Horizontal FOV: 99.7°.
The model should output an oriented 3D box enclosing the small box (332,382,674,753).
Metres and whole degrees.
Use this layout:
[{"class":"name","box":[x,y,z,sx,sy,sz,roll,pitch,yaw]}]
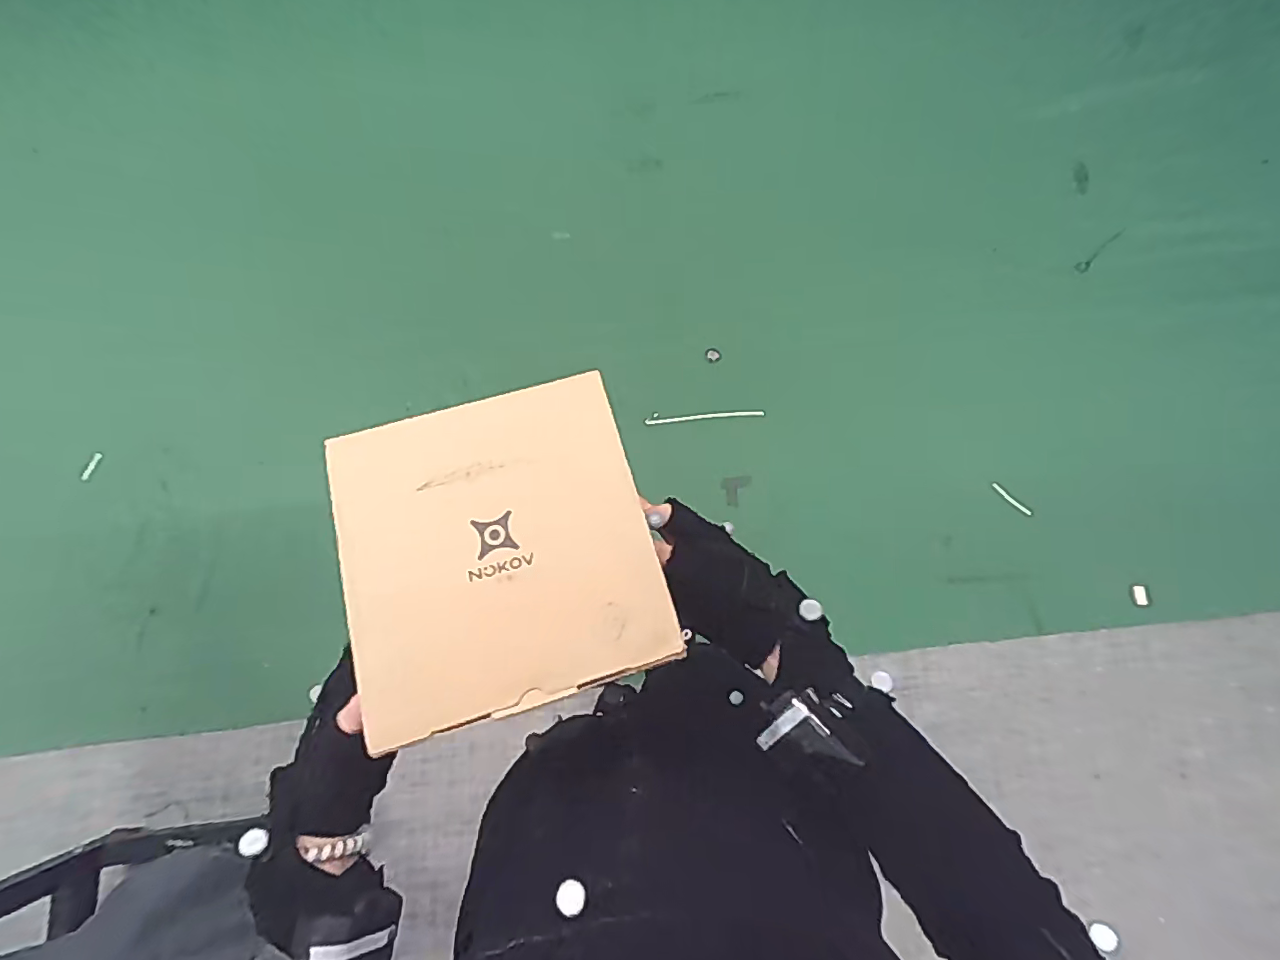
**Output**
[{"class":"small box","box":[-0.082,0.062,0.381,0.168,0.176,0.179,-16,73,-7]}]
